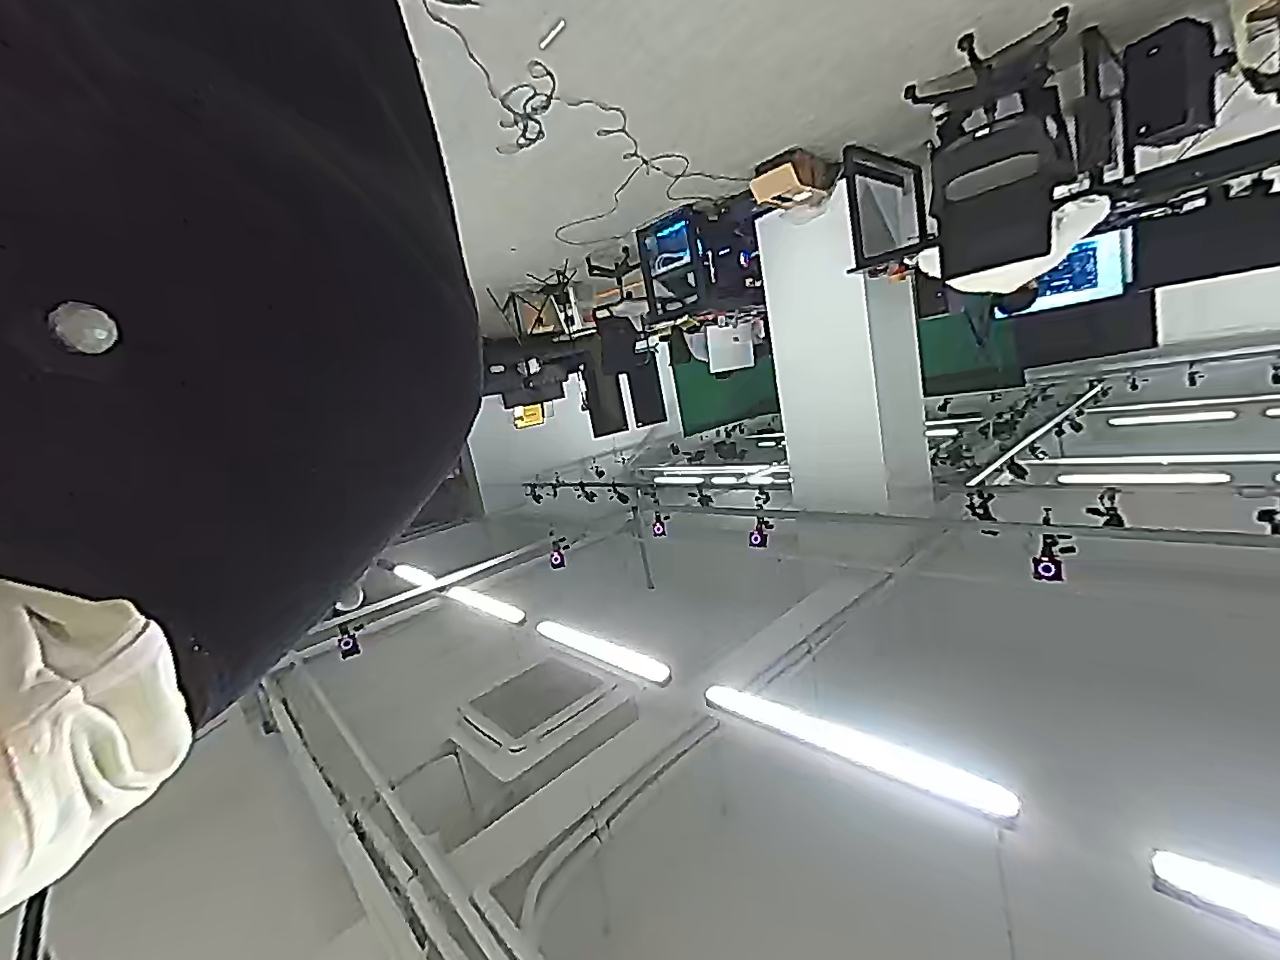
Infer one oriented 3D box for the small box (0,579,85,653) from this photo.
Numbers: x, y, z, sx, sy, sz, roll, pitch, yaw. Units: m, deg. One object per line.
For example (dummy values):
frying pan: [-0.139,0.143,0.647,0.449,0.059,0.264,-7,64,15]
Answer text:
small box: [-1.942,0.429,1.751,0.168,0.176,0.179,-21,-166,-41]
